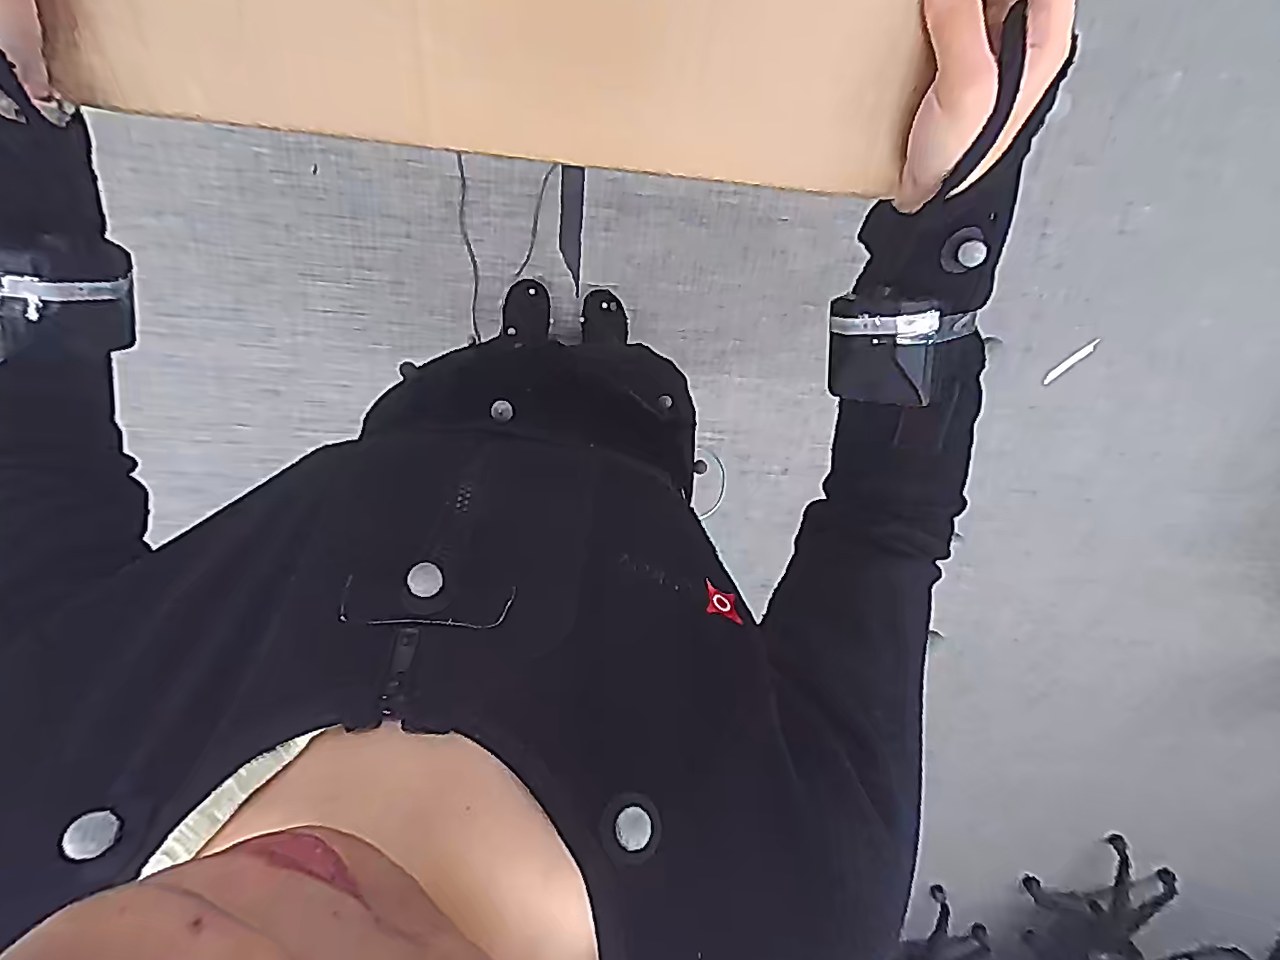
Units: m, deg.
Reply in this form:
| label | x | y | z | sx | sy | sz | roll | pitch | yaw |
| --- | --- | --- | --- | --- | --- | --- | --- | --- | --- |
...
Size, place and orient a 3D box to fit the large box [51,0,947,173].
| label | x | y | z | sx | sy | sz | roll | pitch | yaw |
| --- | --- | --- | --- | --- | --- | --- | --- | --- | --- |
| large box | -0.055 | -0.385 | 0.297 | 0.408 | 0.320 | 0.320 | 3 | 129 | -6 |
